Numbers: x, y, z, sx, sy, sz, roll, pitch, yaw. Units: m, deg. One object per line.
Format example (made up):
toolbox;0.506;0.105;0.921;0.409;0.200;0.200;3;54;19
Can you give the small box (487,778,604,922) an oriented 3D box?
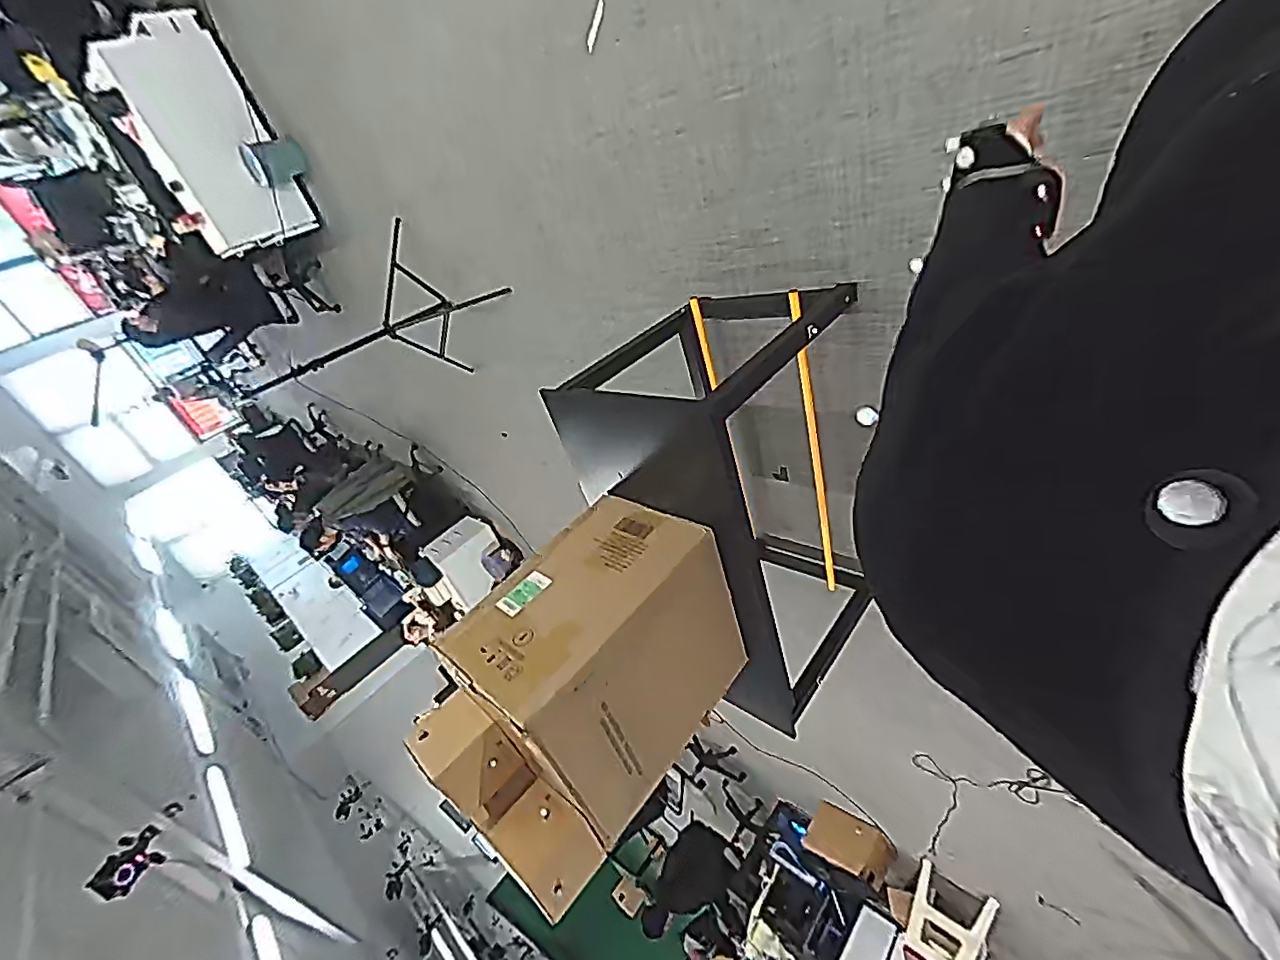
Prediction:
small box;-0.206;0.831;1.228;0.168;0.176;0.179;11;129;44

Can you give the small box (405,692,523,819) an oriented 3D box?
small box;-0.407;0.631;1.263;0.179;0.176;0.168;14;136;46
